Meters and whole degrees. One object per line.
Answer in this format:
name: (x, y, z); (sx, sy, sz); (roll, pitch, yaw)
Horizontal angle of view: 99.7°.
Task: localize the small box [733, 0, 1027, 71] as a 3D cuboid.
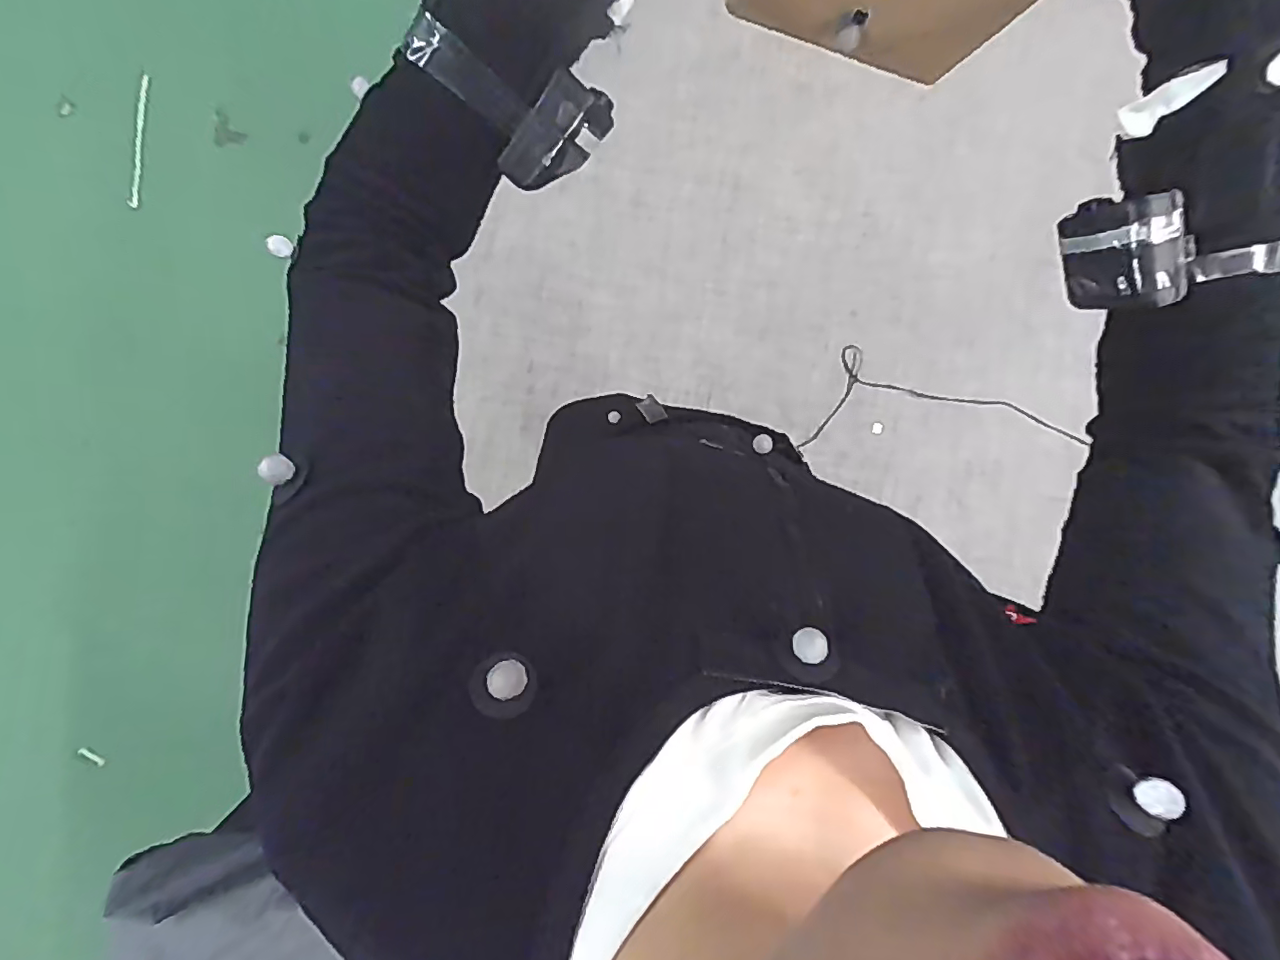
small box: (0.174, -0.388, 0.318); (0.179, 0.176, 0.168); (12, 99, -9)
